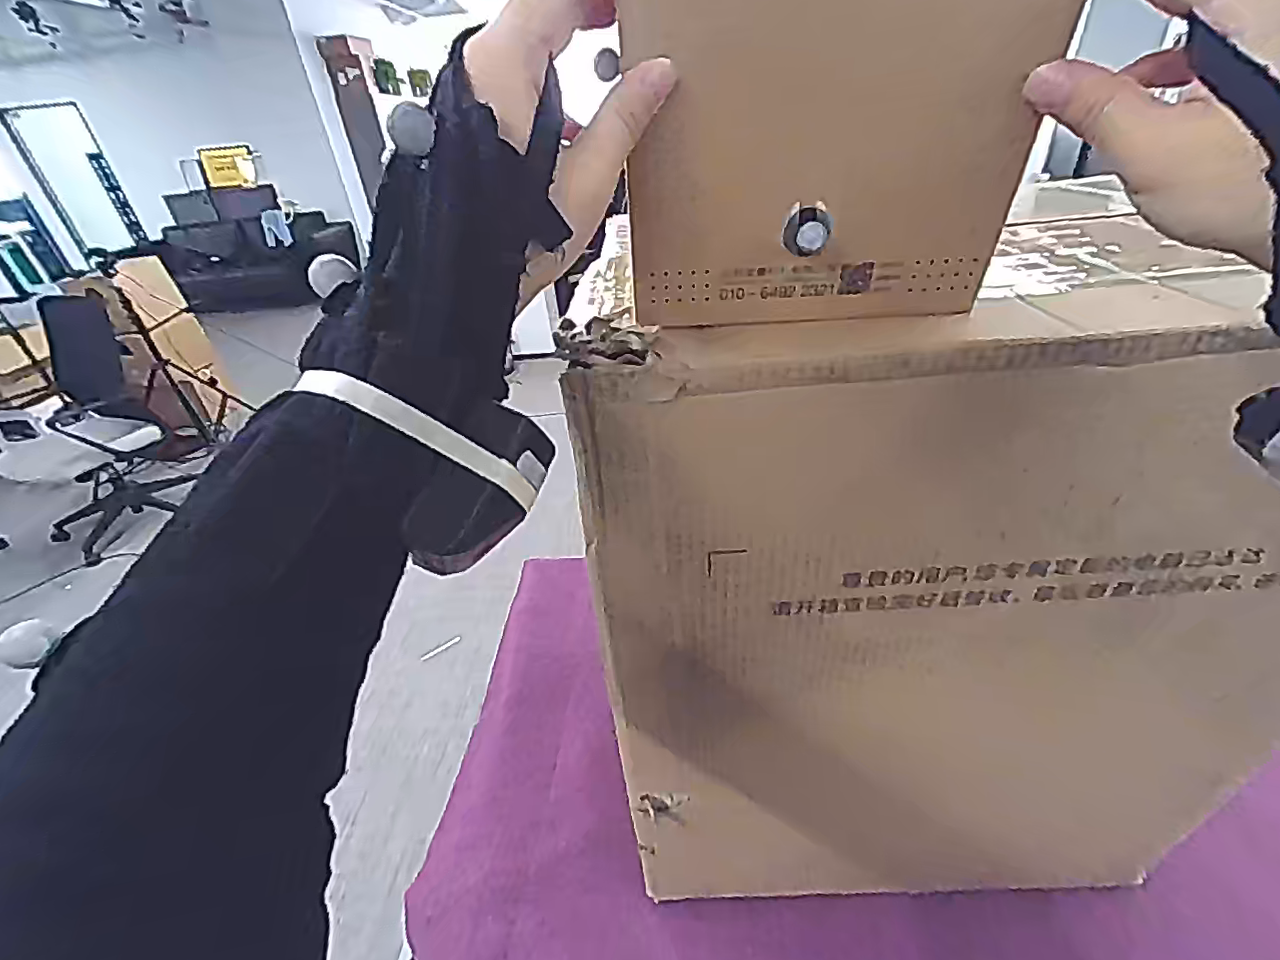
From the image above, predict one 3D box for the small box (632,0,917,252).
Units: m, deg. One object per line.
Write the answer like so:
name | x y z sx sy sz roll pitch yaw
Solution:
small box | 0.086 -0.288 0.428 0.179 0.176 0.168 -3 33 2
